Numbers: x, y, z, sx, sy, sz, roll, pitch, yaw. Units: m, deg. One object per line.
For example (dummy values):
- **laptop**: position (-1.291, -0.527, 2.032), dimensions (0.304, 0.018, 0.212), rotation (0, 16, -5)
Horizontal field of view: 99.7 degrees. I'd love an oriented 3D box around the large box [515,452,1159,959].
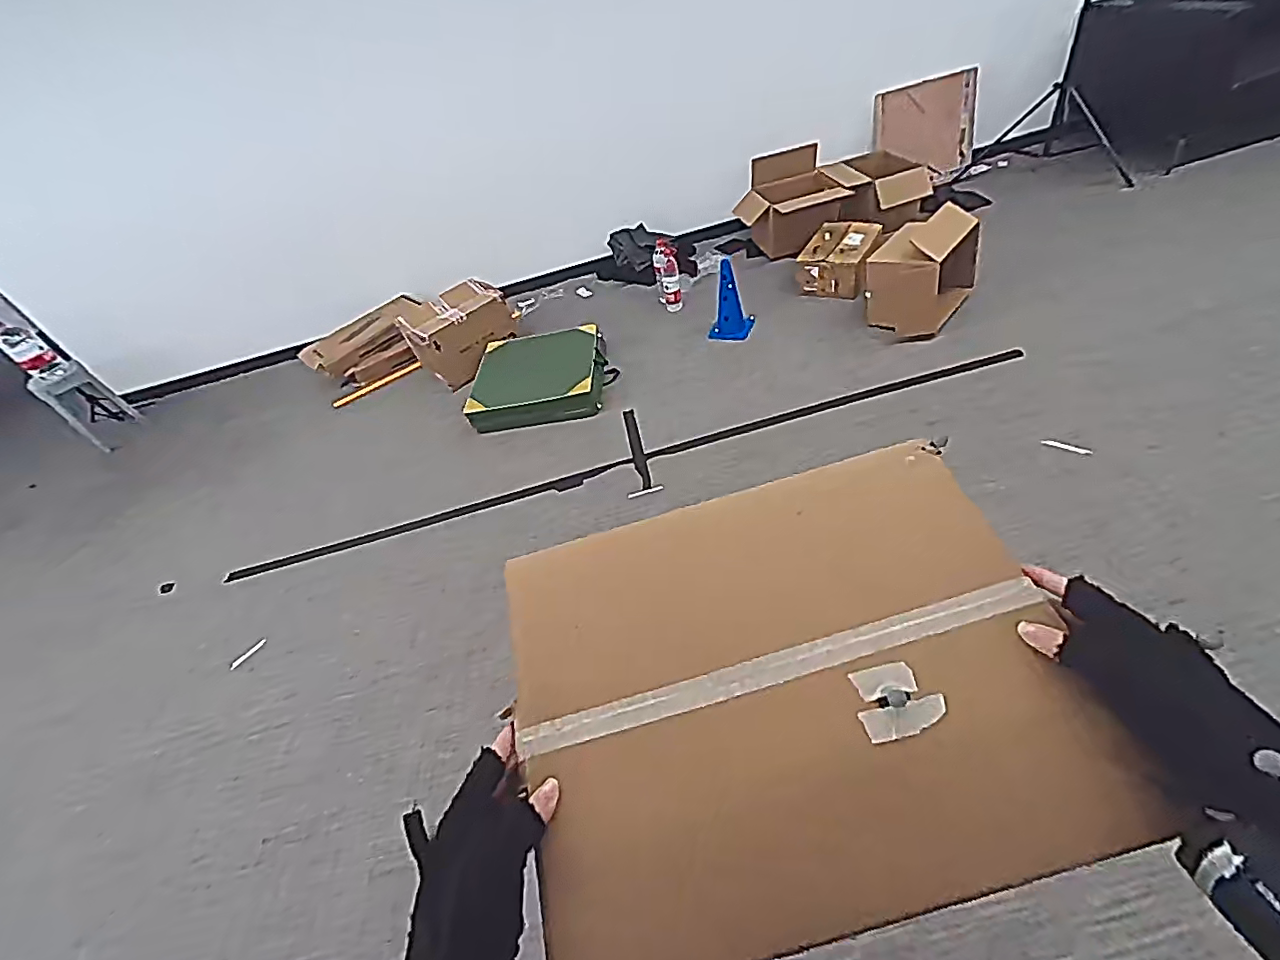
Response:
- **large box**: position (0.130, 0.232, 0.547), dimensions (0.408, 0.320, 0.320), rotation (-17, 56, 0)
